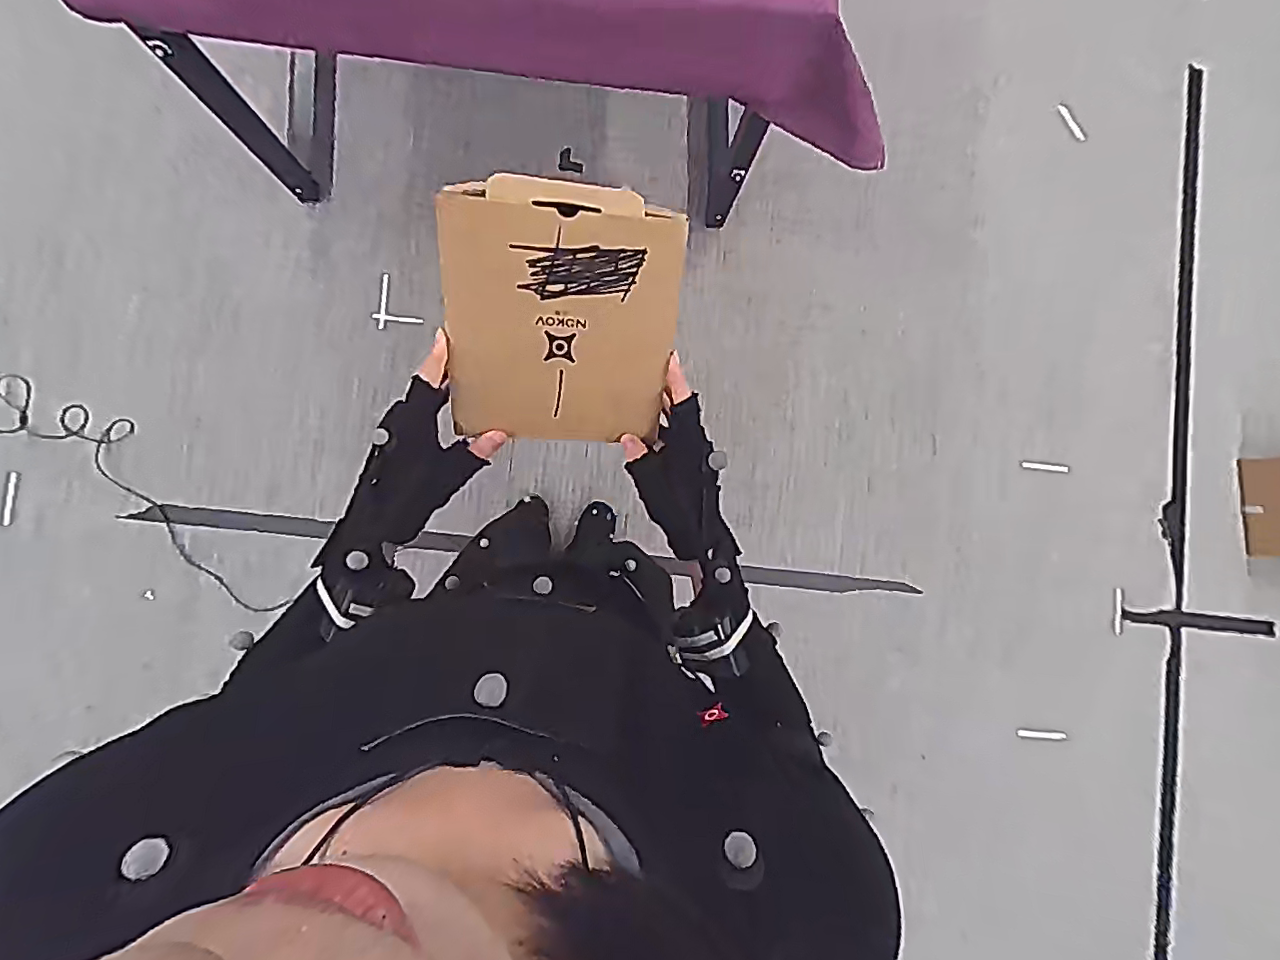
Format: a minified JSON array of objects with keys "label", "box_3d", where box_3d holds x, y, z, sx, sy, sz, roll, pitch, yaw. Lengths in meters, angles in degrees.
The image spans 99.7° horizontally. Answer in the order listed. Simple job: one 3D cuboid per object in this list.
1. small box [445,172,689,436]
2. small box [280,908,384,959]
[{"label":"small box","box_3d":[-0.065,-0.153,0.464,0.168,0.176,0.179,2,119,-9]},{"label":"small box","box_3d":[-0.743,1.173,1.300,0.179,0.176,0.168,4,88,-6]}]
